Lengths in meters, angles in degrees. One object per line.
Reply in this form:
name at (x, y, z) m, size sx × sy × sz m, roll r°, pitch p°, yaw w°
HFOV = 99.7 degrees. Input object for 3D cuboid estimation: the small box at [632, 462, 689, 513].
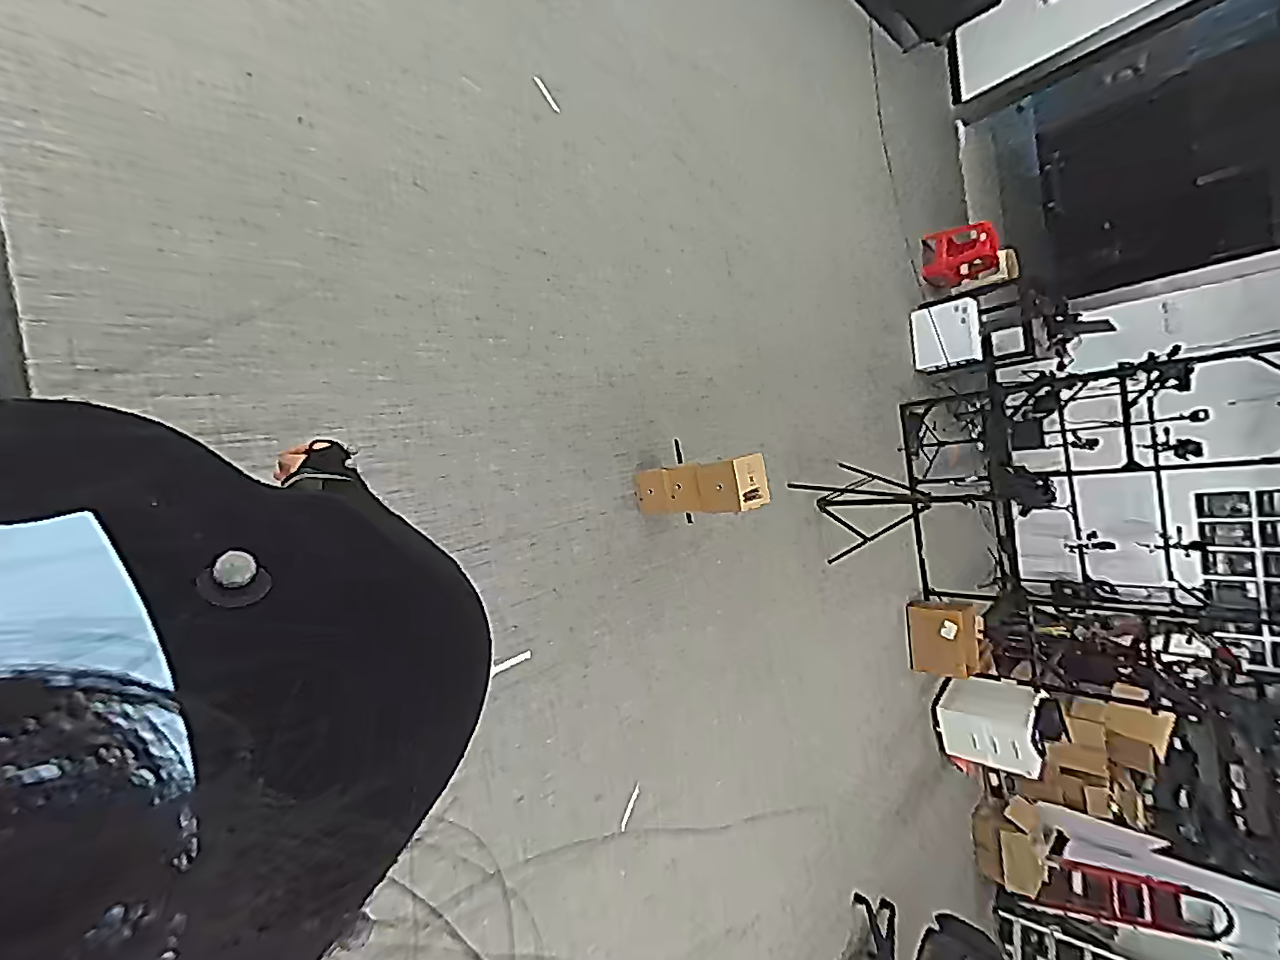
small box at (0.086, 0.030, 2.099) m, size 0.179 × 0.176 × 0.168 m, roll -14°, pitch 97°, yaw -44°

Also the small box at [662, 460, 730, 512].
small box at (0.205, 0.022, 1.988) m, size 0.179 × 0.176 × 0.168 m, roll -11°, pitch 94°, yaw -43°
